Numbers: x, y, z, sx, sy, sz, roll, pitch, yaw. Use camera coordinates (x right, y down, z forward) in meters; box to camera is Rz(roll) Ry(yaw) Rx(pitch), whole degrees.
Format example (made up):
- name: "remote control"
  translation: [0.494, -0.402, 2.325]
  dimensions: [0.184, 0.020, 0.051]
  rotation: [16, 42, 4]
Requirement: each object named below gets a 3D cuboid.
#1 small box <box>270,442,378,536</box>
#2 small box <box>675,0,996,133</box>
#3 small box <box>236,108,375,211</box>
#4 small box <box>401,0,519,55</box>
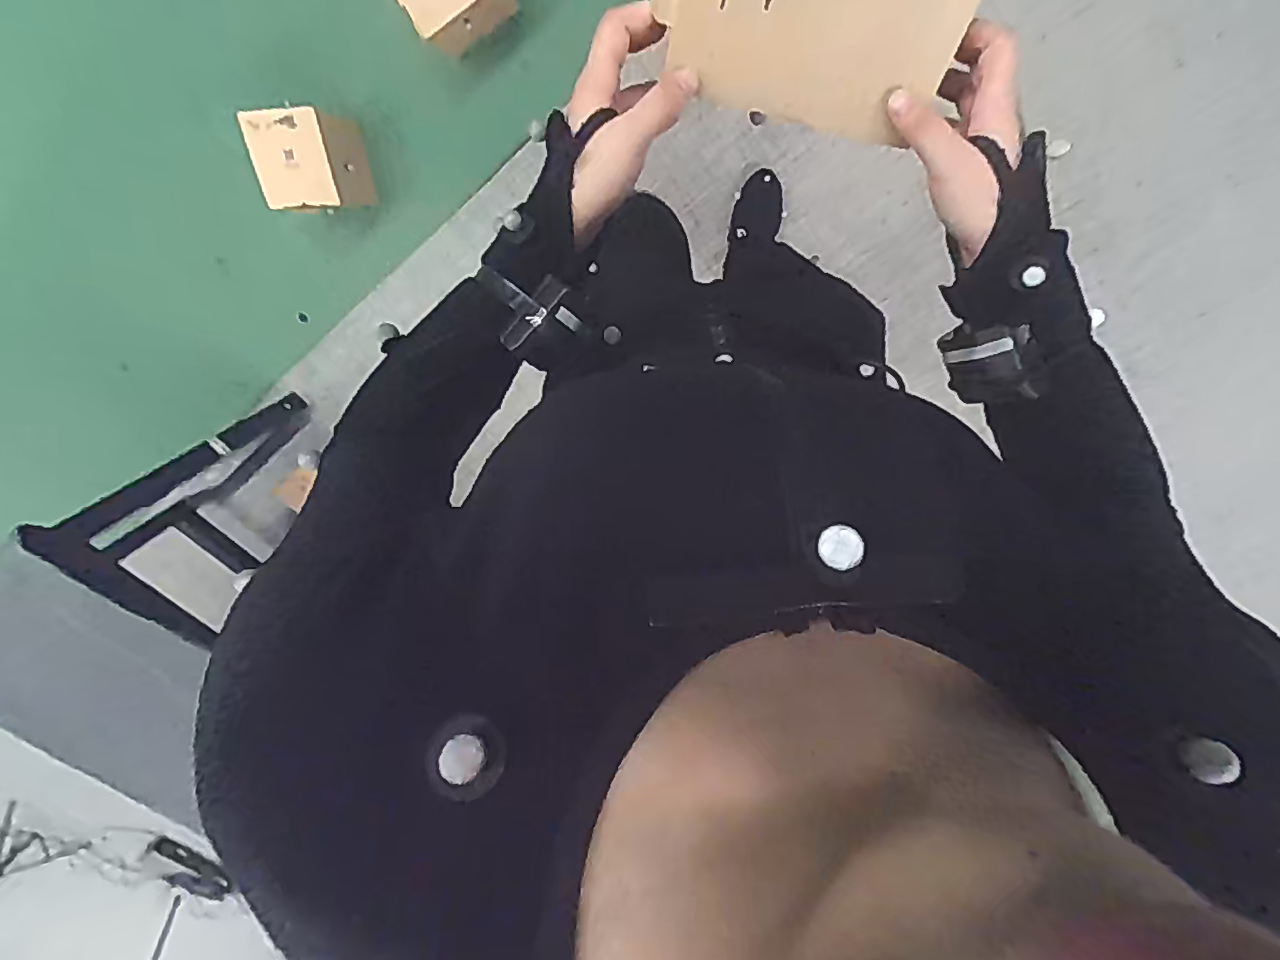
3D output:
- name: "small box"
  translation: [-0.902, 0.022, 1.562]
  dimensions: [0.168, 0.176, 0.179]
  rotation: [-34, 111, 19]
- name: "small box"
  translation: [0.126, -0.355, 0.348]
  dimensions: [0.179, 0.176, 0.168]
  rotation: [10, 135, -6]
- name: "small box"
  translation: [-0.702, -0.685, 1.162]
  dimensions: [0.168, 0.176, 0.179]
  rotation: [0, 119, 5]
- name: "small box"
  translation: [-0.350, -0.934, 1.000]
  dimensions: [0.179, 0.176, 0.168]
  rotation: [-24, 116, 15]
